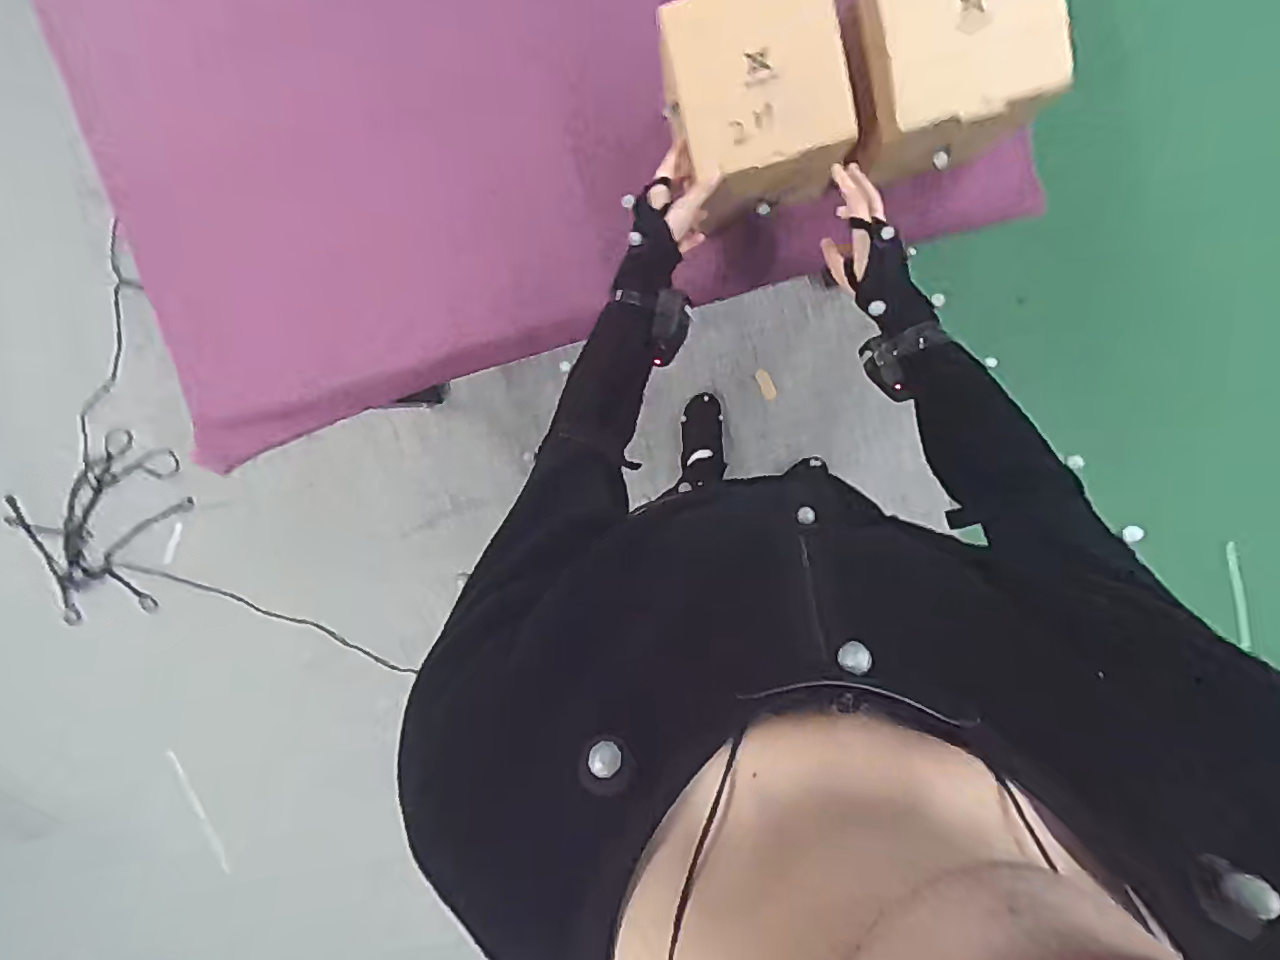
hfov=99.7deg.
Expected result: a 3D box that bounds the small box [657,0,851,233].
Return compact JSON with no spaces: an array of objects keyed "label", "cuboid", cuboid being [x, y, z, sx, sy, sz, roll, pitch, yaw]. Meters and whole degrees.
[{"label":"small box","cuboid":[0.120,-0.416,0.621,0.168,0.176,0.179,-14,97,7]}]
